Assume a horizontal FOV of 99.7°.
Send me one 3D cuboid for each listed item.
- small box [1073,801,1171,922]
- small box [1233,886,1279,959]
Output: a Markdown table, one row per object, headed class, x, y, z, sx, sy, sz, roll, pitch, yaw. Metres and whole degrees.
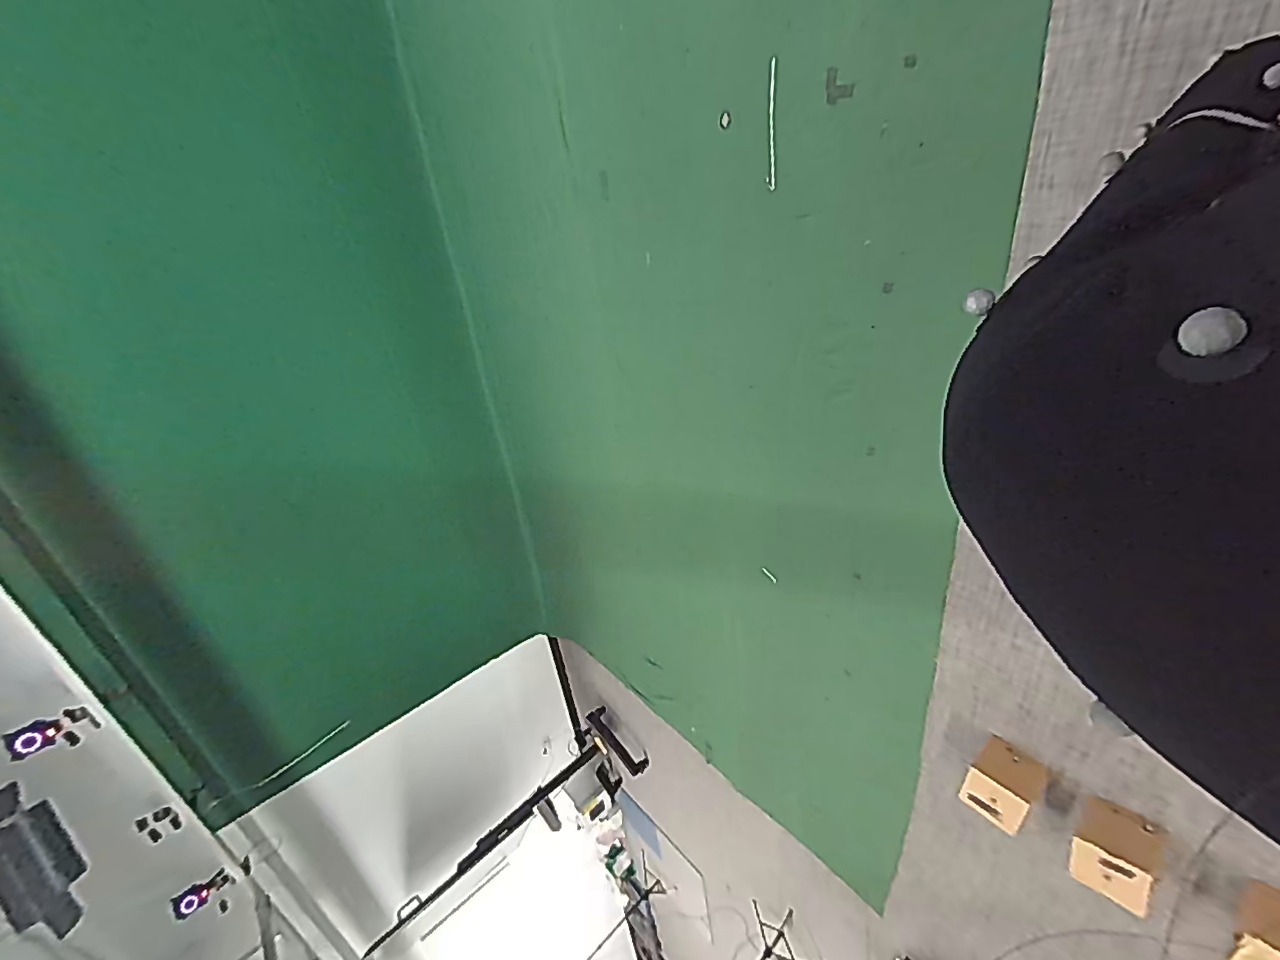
| class | x | y | z | sx | sy | sz | roll | pitch | yaw |
| --- | --- | --- | --- | --- | --- | --- | --- | --- | --- |
| small box | 1.332 | 1.042 | 1.495 | 0.168 | 0.176 | 0.179 | 14 | 124 | 51 |
| small box | 1.534 | 1.118 | 1.262 | 0.168 | 0.176 | 0.179 | 19 | 126 | 48 |
